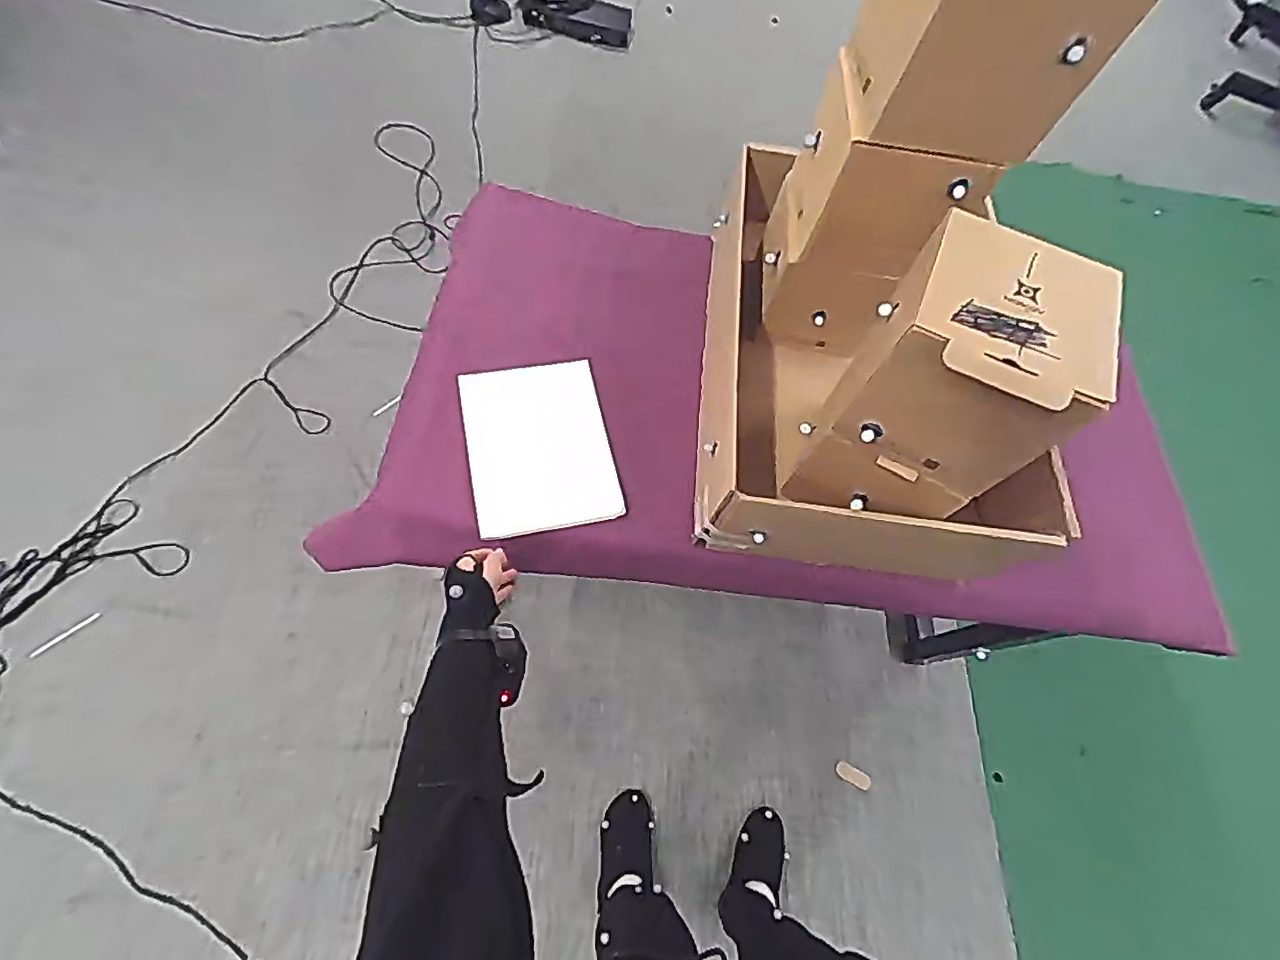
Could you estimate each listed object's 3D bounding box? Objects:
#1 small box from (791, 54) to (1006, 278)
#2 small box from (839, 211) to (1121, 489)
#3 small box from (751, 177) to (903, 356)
[{"bbox_3d":[0.293,-0.372,0.662,0.179,0.176,0.168,6,66,-4],"label":"small box"},{"bbox_3d":[0.321,-0.119,0.539,0.168,0.176,0.179,26,63,7],"label":"small box"},{"bbox_3d":[0.271,-0.310,0.809,0.168,0.176,0.179,8,66,-3],"label":"small box"}]
